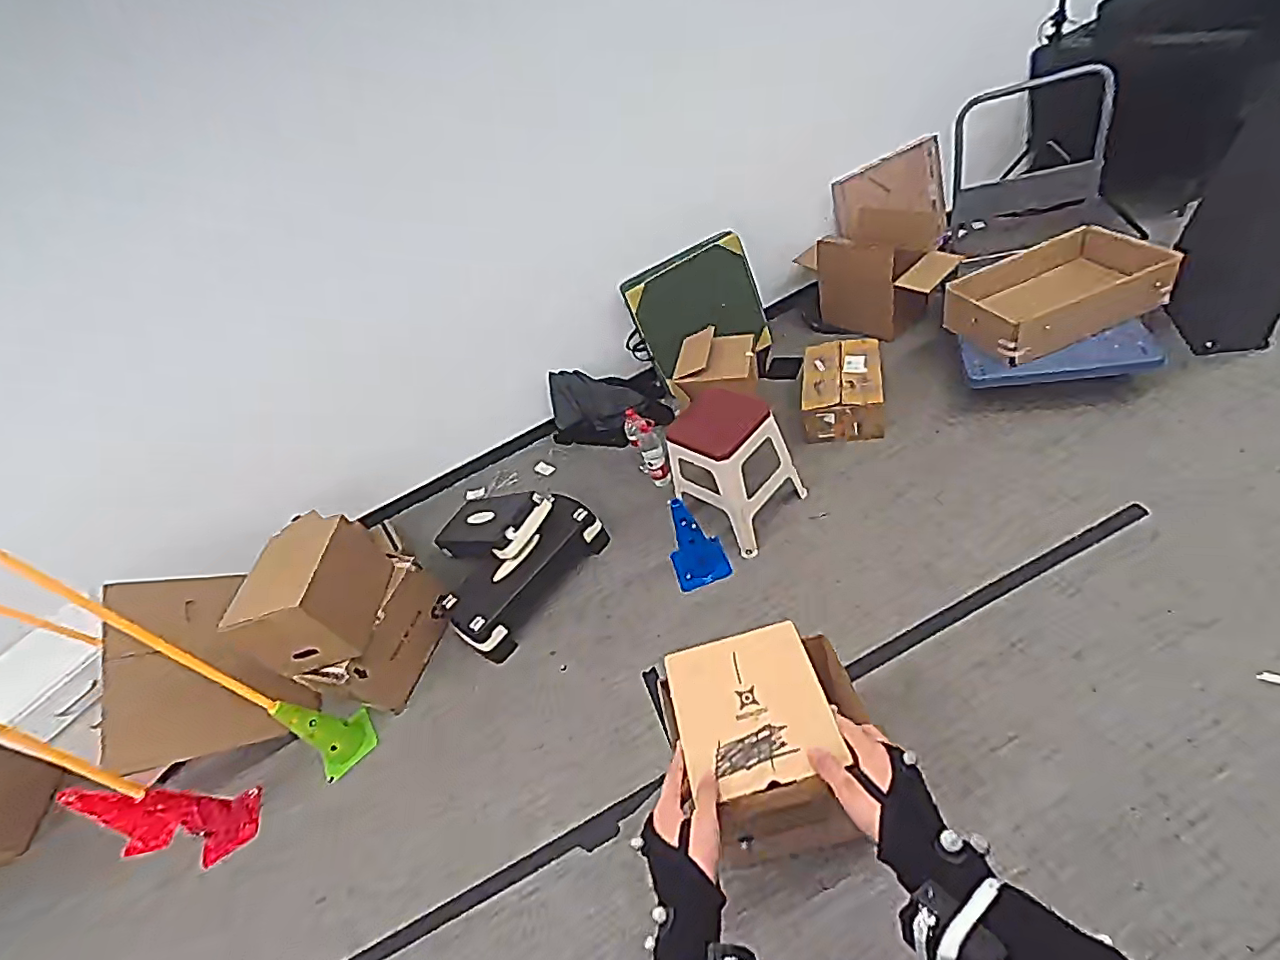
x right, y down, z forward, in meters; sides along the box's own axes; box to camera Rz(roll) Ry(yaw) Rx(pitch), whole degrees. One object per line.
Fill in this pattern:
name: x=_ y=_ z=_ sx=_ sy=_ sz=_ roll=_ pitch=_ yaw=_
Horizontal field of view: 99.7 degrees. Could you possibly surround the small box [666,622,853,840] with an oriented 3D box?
small box: x=0.143 y=0.307 z=0.651 sx=0.168 sy=0.176 sz=0.179 roll=-17 pitch=41 yaw=3
